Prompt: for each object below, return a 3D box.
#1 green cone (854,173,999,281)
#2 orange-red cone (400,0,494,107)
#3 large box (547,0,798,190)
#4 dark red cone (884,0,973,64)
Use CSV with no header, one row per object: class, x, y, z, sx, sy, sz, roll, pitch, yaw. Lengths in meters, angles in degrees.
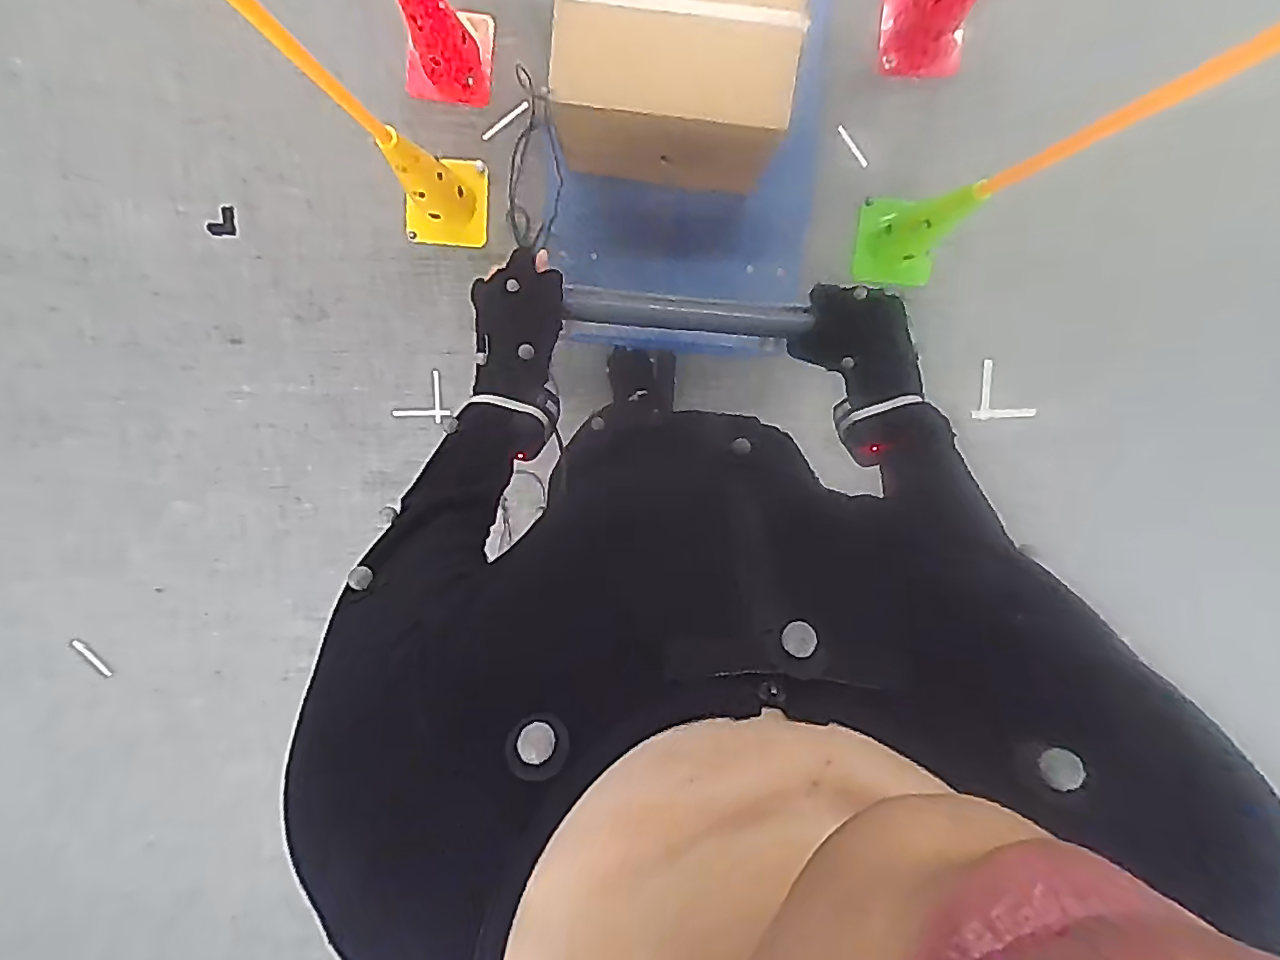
green cone,0.653,-0.587,1.201,0.202,0.368,0.200,4,99,-2
orange-red cone,-0.452,-0.992,1.130,0.198,0.360,0.199,8,98,-3
large box,0.058,-0.776,1.023,0.408,0.320,0.320,6,100,-1
dark red cone,0.680,-1.063,1.107,0.201,0.394,0.202,0,100,-2
